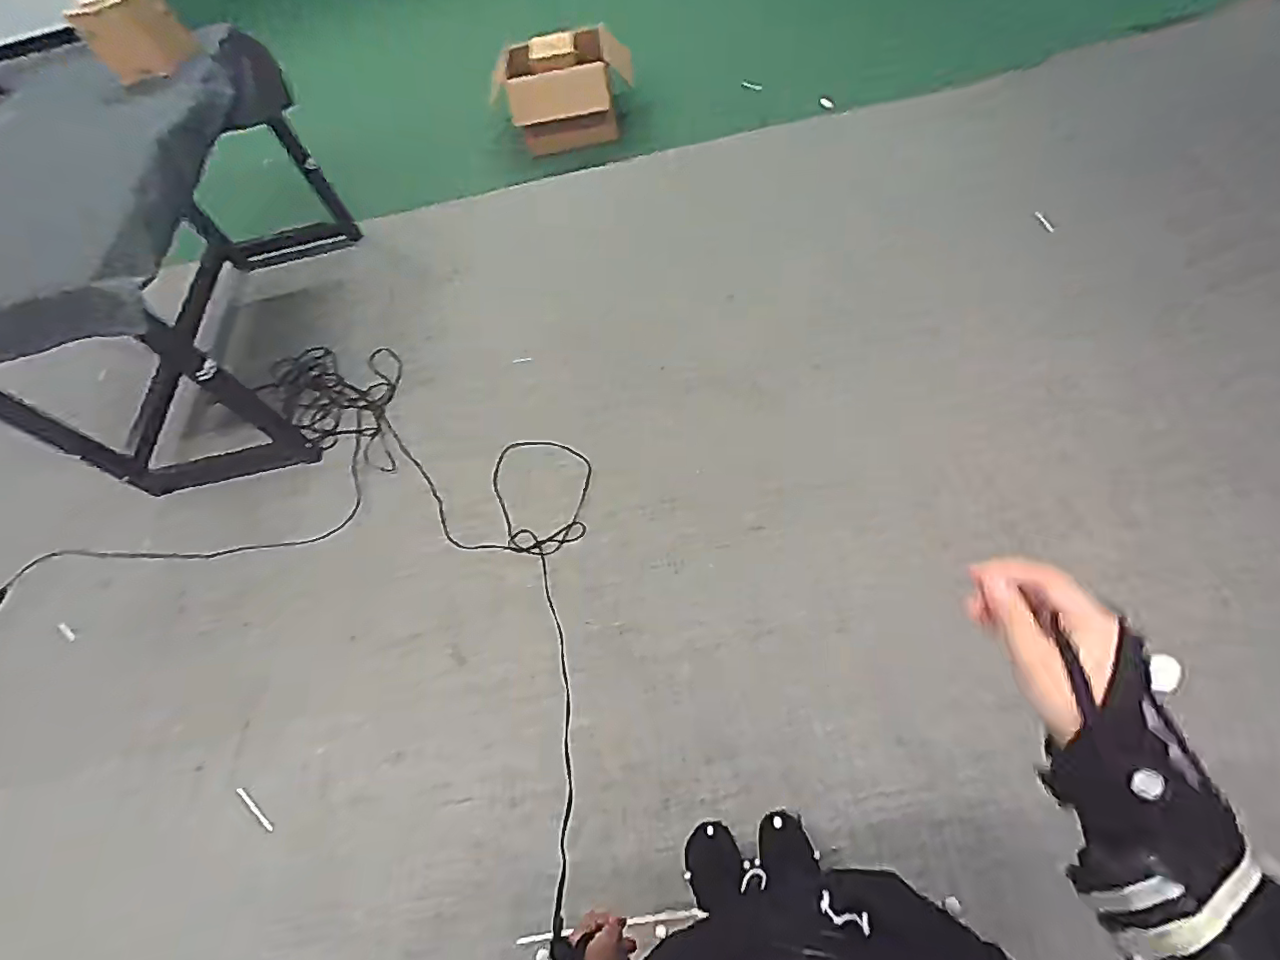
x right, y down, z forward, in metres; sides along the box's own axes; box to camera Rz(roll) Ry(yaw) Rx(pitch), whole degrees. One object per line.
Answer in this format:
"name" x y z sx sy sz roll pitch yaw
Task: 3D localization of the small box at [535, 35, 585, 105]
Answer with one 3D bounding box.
"small box" -0.323 -1.671 2.207 0.168 0.176 0.179 -7 60 5
